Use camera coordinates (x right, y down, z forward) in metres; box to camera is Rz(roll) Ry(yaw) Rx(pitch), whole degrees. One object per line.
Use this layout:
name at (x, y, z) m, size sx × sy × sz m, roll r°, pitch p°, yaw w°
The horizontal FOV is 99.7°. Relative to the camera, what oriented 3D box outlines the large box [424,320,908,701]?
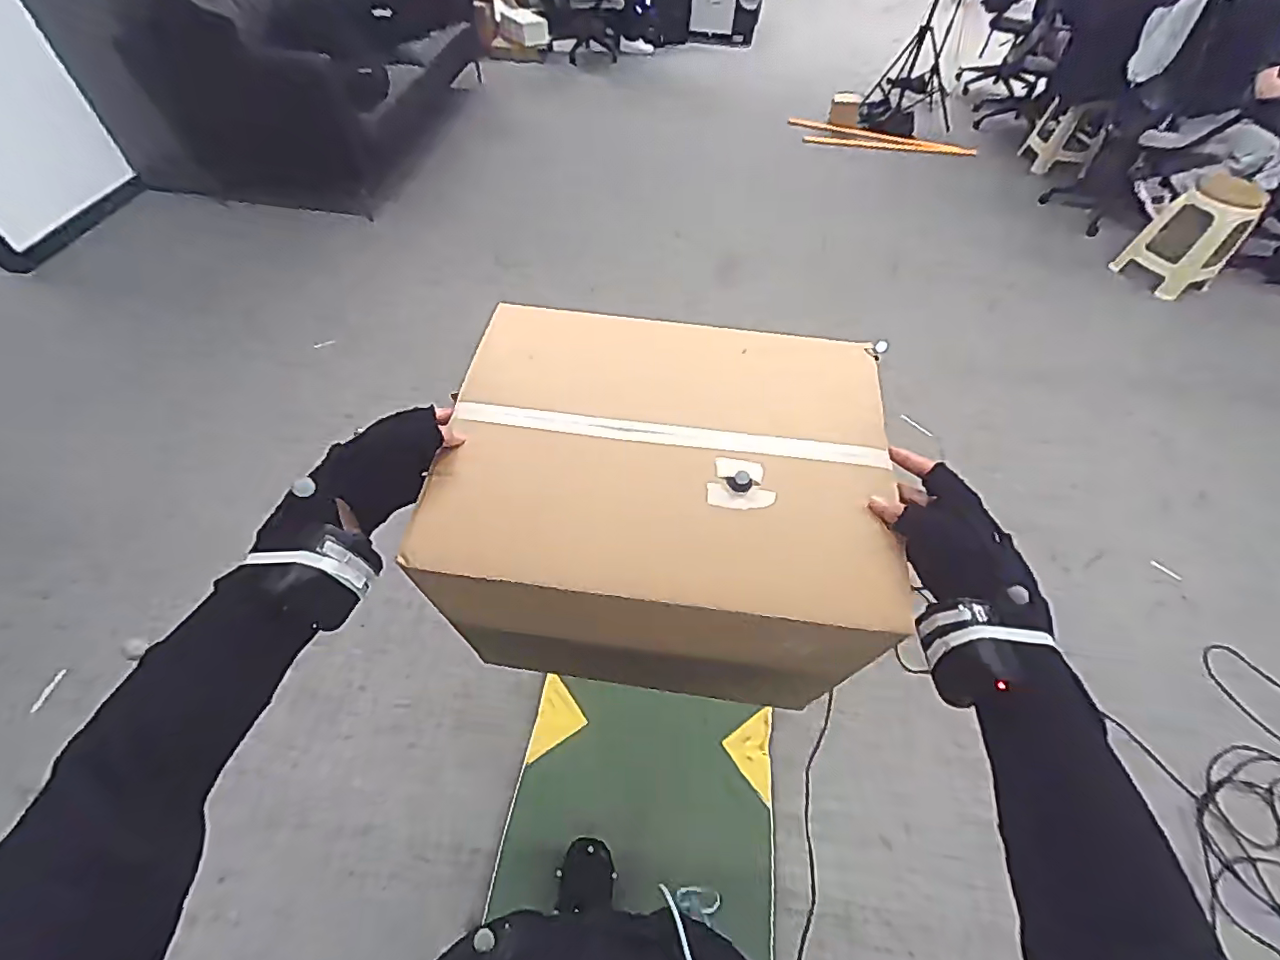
large box at (0.028, 0.049, 0.639) m, size 0.408 × 0.320 × 0.320 m, roll 7°, pitch 58°, yaw 2°
